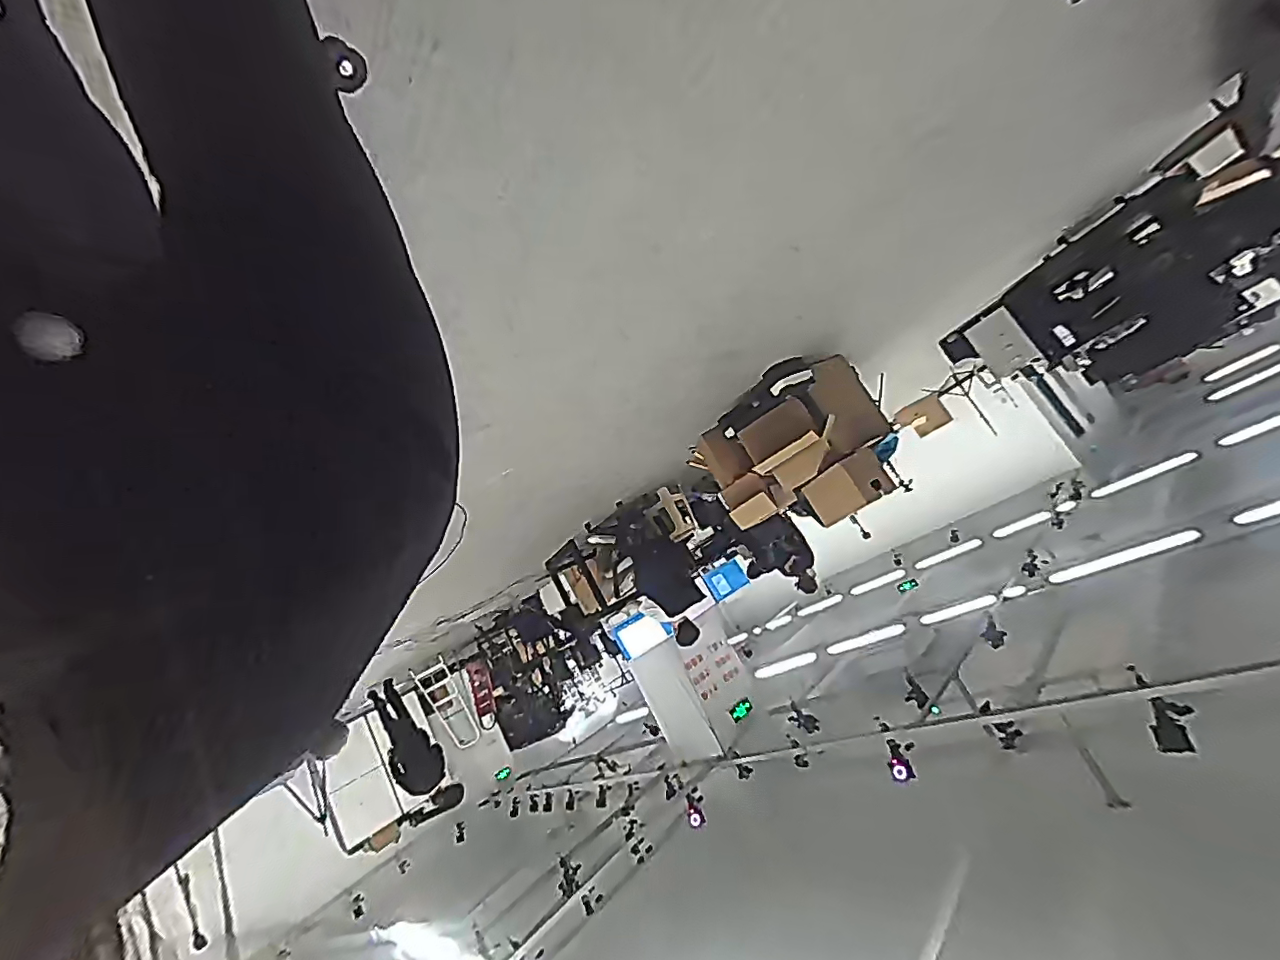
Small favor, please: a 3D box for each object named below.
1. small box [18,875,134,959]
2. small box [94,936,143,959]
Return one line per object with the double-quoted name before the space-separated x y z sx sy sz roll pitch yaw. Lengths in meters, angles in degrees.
"small box" -1.530 1.215 1.475 0.179 0.176 0.168 -19 165 -41
"small box" -1.426 1.355 1.418 0.179 0.176 0.168 -19 164 -41
